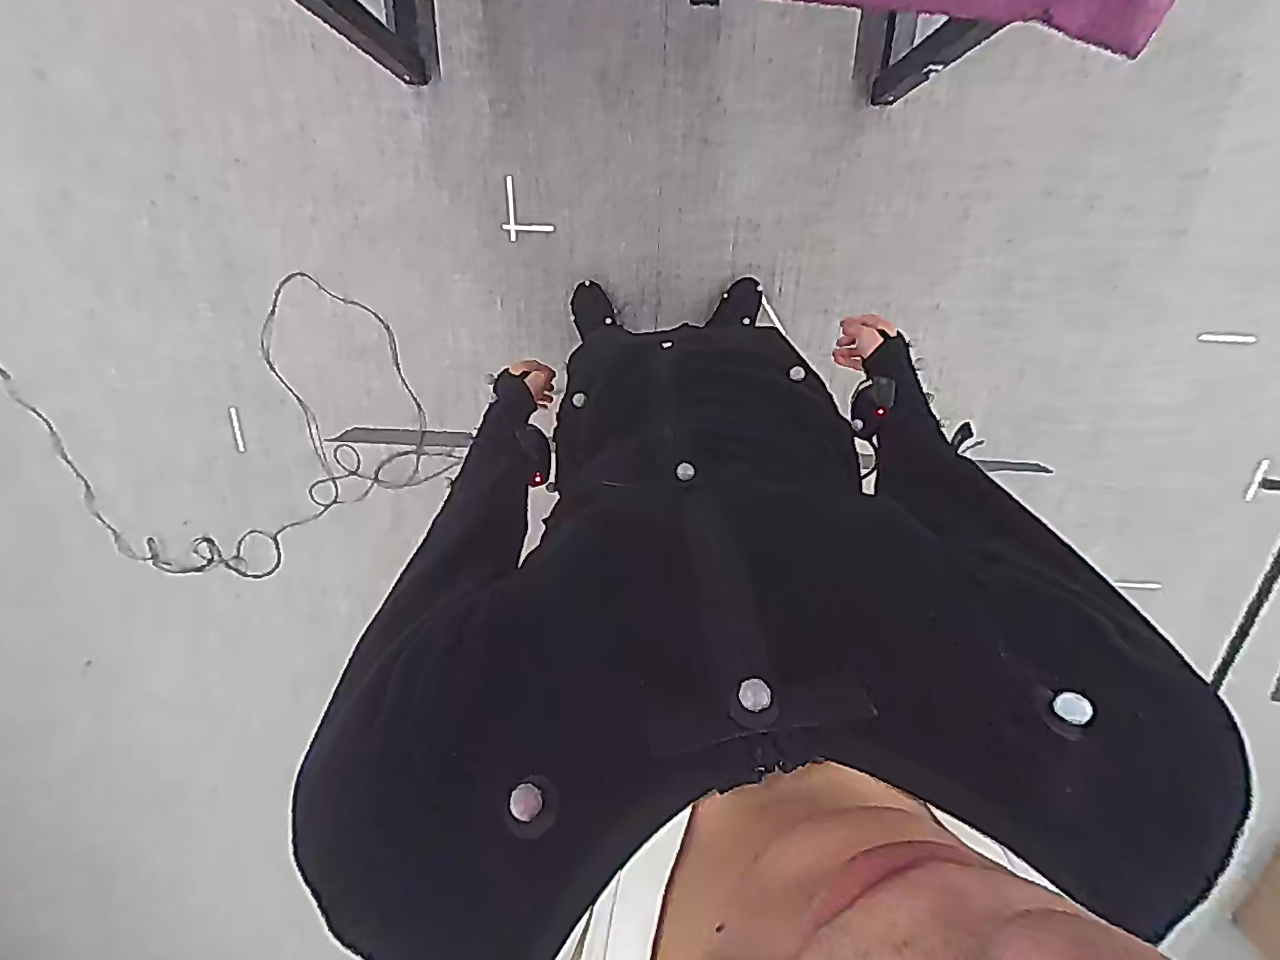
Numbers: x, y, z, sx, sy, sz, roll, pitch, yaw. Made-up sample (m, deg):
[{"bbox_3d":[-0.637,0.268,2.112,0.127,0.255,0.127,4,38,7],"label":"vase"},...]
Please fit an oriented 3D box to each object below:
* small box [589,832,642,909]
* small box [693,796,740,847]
[{"bbox_3d":[-0.088,1.432,1.990,0.179,0.176,0.168,7,111,-2],"label":"small box"},{"bbox_3d":[0.299,1.390,2.144,0.168,0.176,0.179,-2,111,1],"label":"small box"}]
